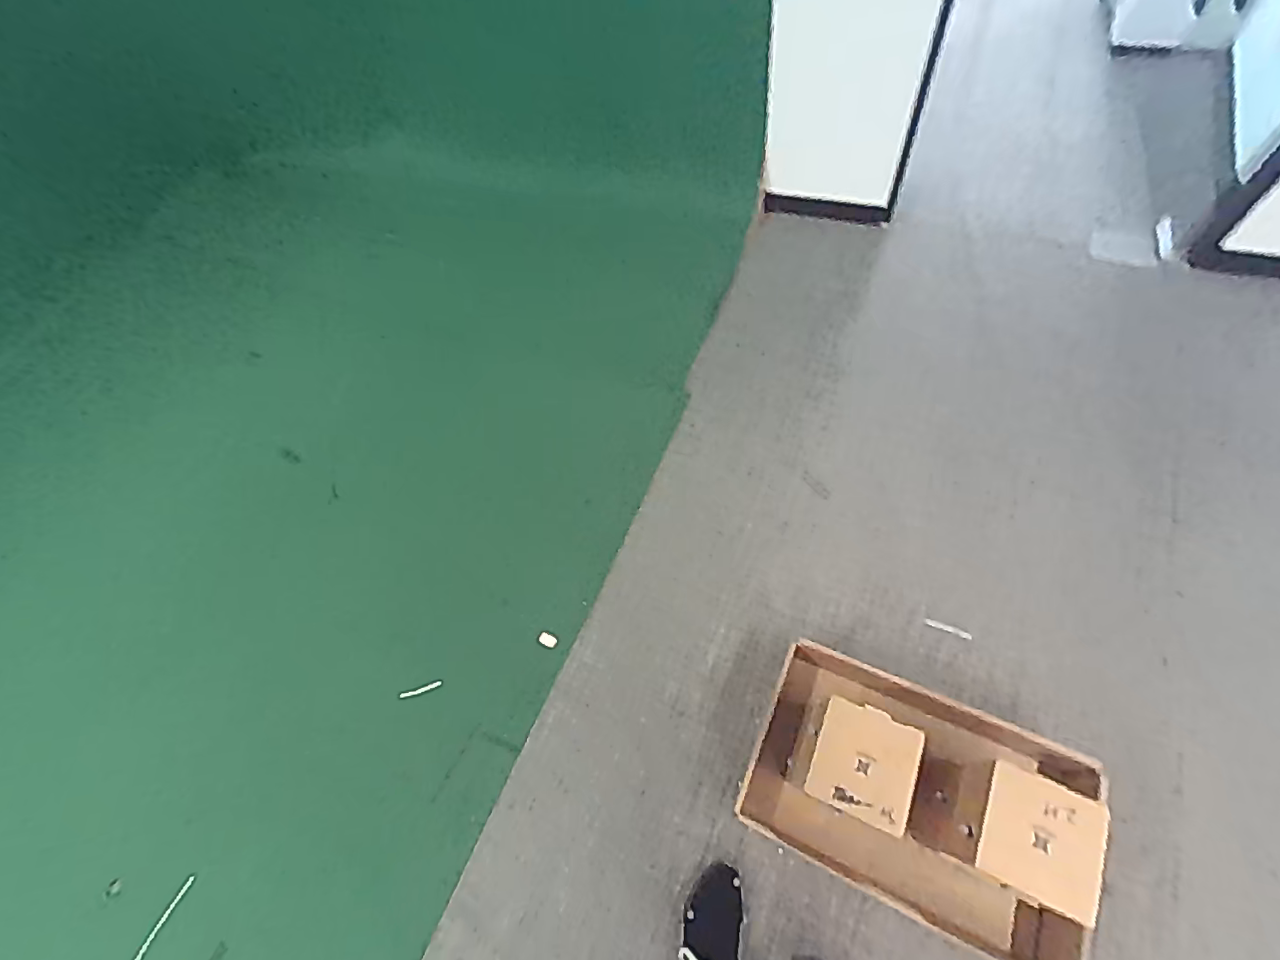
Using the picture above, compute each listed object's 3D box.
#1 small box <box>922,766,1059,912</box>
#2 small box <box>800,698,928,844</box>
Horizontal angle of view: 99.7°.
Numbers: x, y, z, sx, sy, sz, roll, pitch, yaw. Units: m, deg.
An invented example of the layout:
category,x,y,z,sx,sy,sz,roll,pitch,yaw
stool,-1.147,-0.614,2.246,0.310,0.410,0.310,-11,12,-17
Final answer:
category,x,y,z,sx,sy,sz,roll,pitch,yaw
small box,0.677,0.690,1.062,0.168,0.176,0.179,20,68,20
small box,0.405,0.532,1.002,0.168,0.176,0.179,19,67,19
